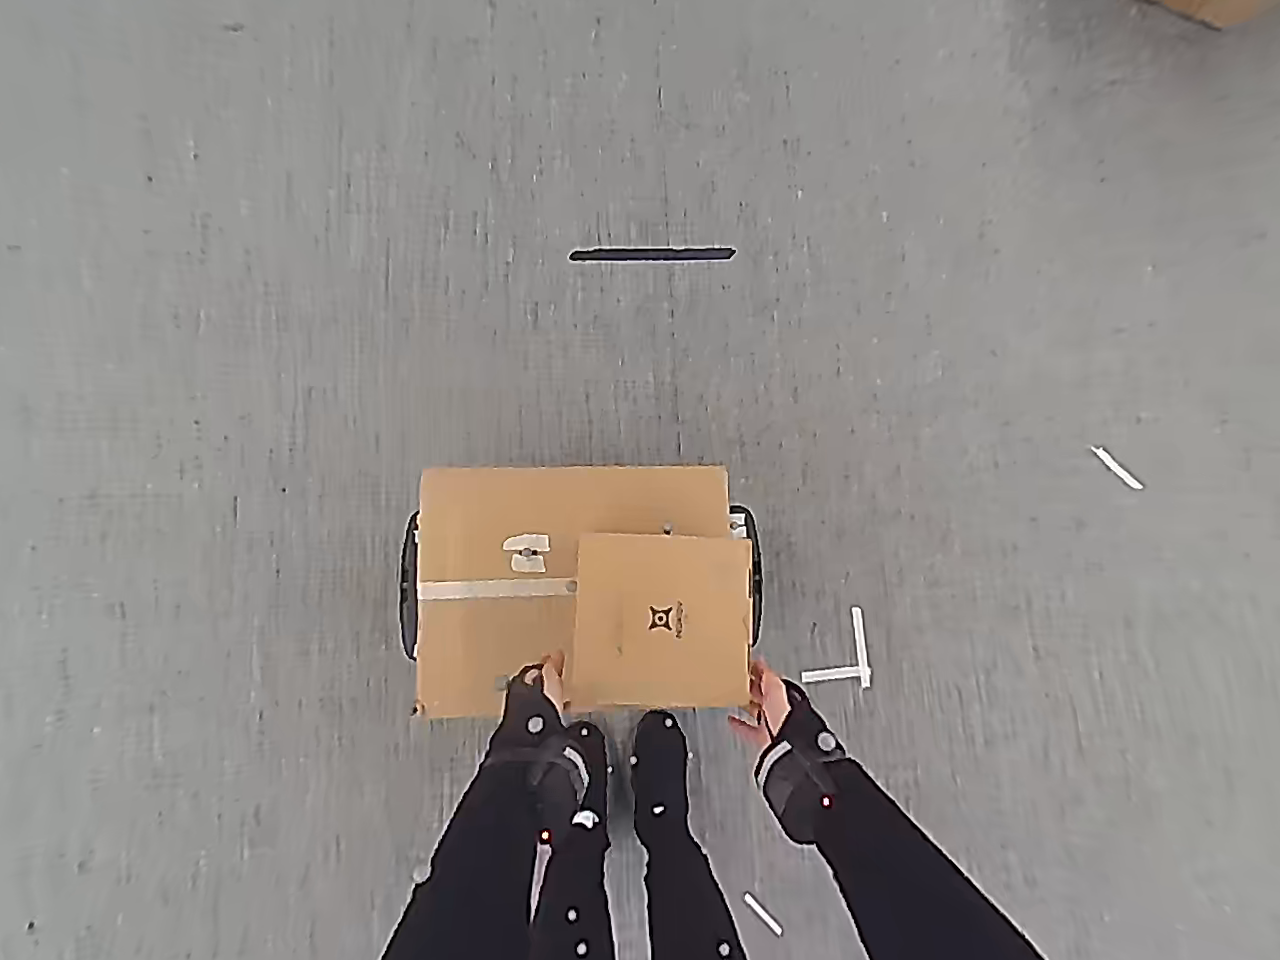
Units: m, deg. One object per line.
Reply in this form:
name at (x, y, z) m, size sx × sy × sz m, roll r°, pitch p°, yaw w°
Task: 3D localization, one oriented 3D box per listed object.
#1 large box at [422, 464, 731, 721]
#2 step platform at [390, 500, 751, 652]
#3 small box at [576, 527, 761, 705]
large box at (-0.082, 0.156, 0.838) m, size 0.408 × 0.320 × 0.320 m, roll -1°, pitch 82°, yaw -4°
step platform at (-0.119, 0.204, 1.069) m, size 0.684 × 0.204 × 0.286 m, roll 4°, pitch 82°, yaw -3°
small box at (0.024, 0.140, 0.600) m, size 0.179 × 0.176 × 0.168 m, roll 3°, pitch 83°, yaw -4°
